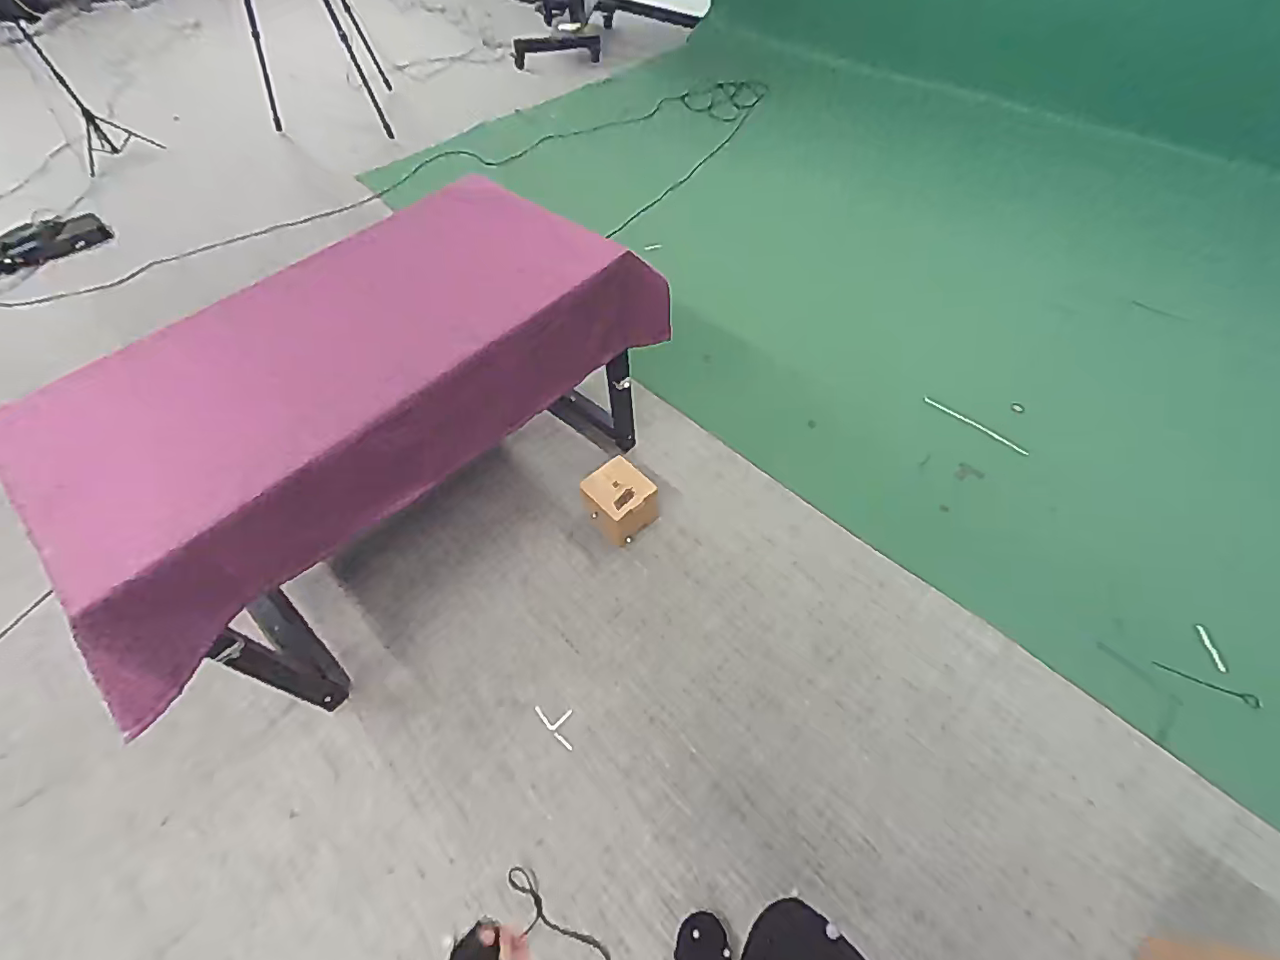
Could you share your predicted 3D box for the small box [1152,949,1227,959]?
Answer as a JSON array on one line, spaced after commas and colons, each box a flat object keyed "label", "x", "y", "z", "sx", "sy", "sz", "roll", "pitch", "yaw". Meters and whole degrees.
[{"label": "small box", "x": 1.022, "y": 0.971, "z": 0.944, "sx": 0.179, "sy": 0.176, "sz": 0.168, "roll": 38, "pitch": 66, "yaw": 26}]
